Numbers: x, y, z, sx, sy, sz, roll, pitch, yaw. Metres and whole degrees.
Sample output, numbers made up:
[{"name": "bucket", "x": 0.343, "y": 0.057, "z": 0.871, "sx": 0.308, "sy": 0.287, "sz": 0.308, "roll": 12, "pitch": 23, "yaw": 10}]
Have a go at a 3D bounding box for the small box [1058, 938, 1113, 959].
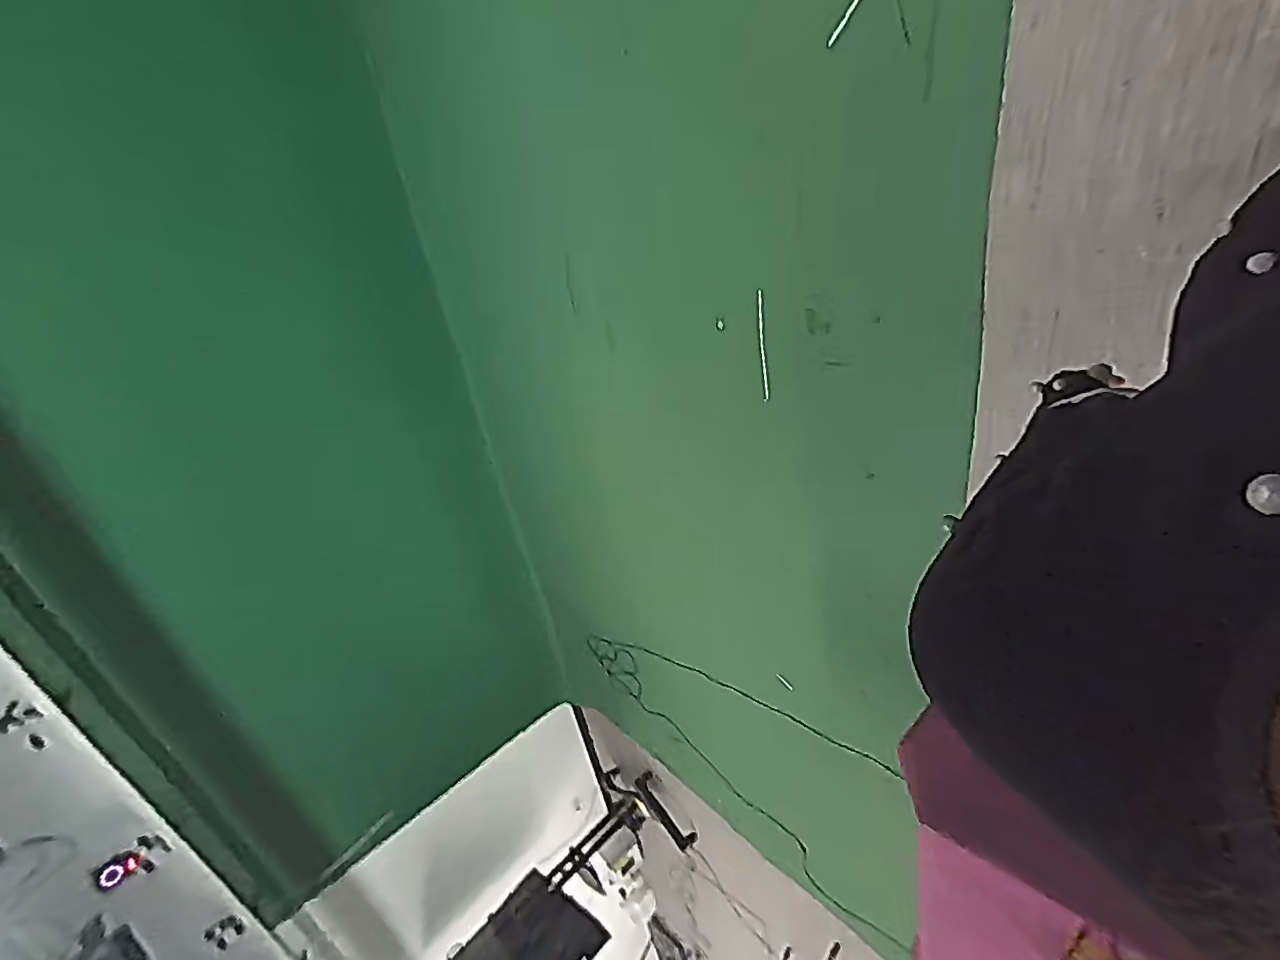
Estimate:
[{"name": "small box", "x": 0.784, "y": 0.931, "z": 0.897, "sx": 0.179, "sy": 0.176, "sz": 0.168, "roll": 22, "pitch": 132, "yaw": 43}]
